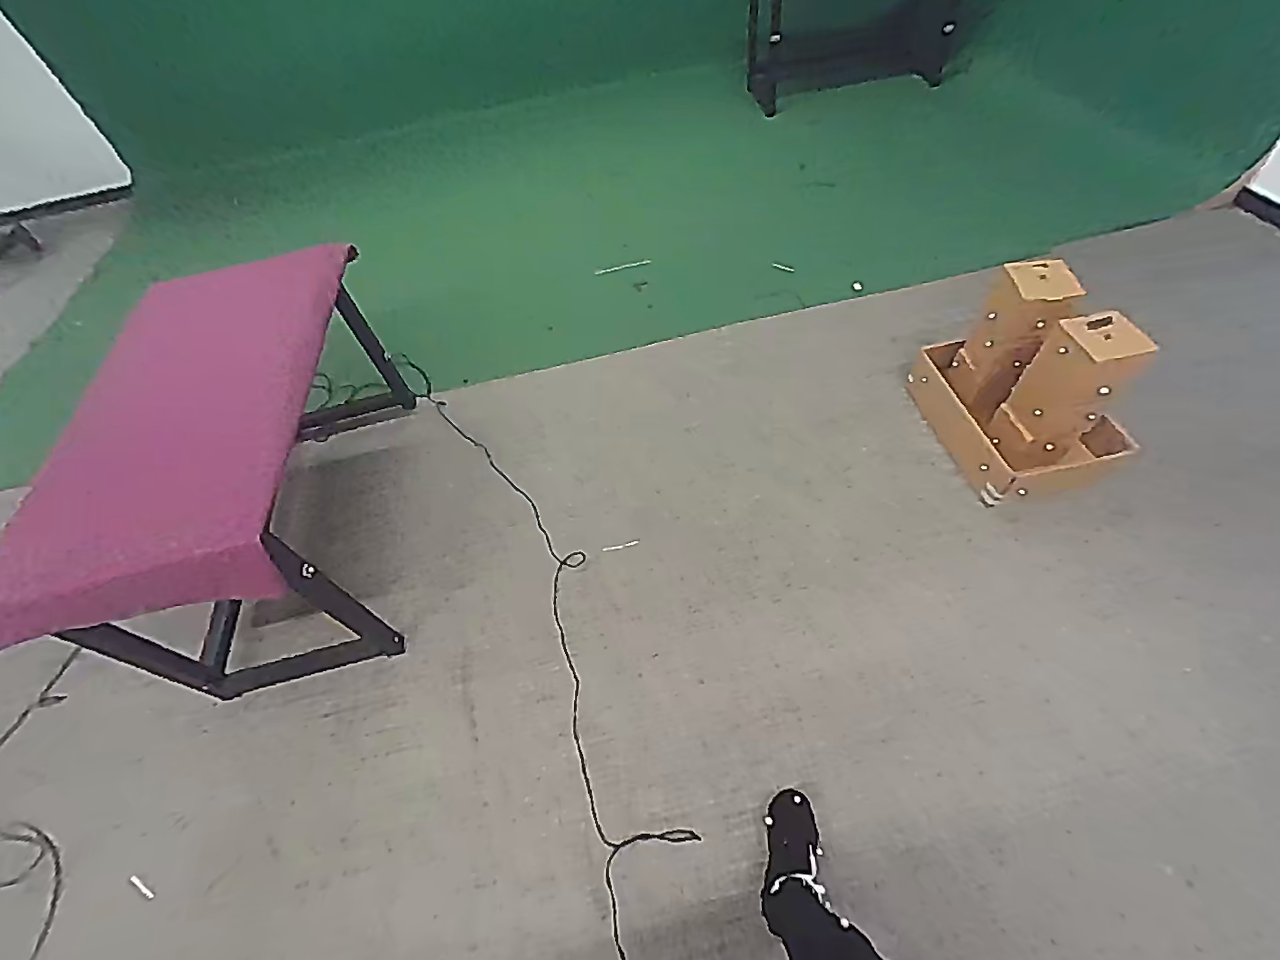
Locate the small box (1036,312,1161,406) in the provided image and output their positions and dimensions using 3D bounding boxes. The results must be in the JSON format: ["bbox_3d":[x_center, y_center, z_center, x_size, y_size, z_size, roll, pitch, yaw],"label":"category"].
[{"bbox_3d":[1.255,-0.333,1.498,0.168,0.176,0.179,-11,53,1],"label":"small box"}]

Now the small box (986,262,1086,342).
[{"bbox_3d":[1.200,-0.538,1.654,0.168,0.176,0.179,-2,56,6],"label":"small box"}]
